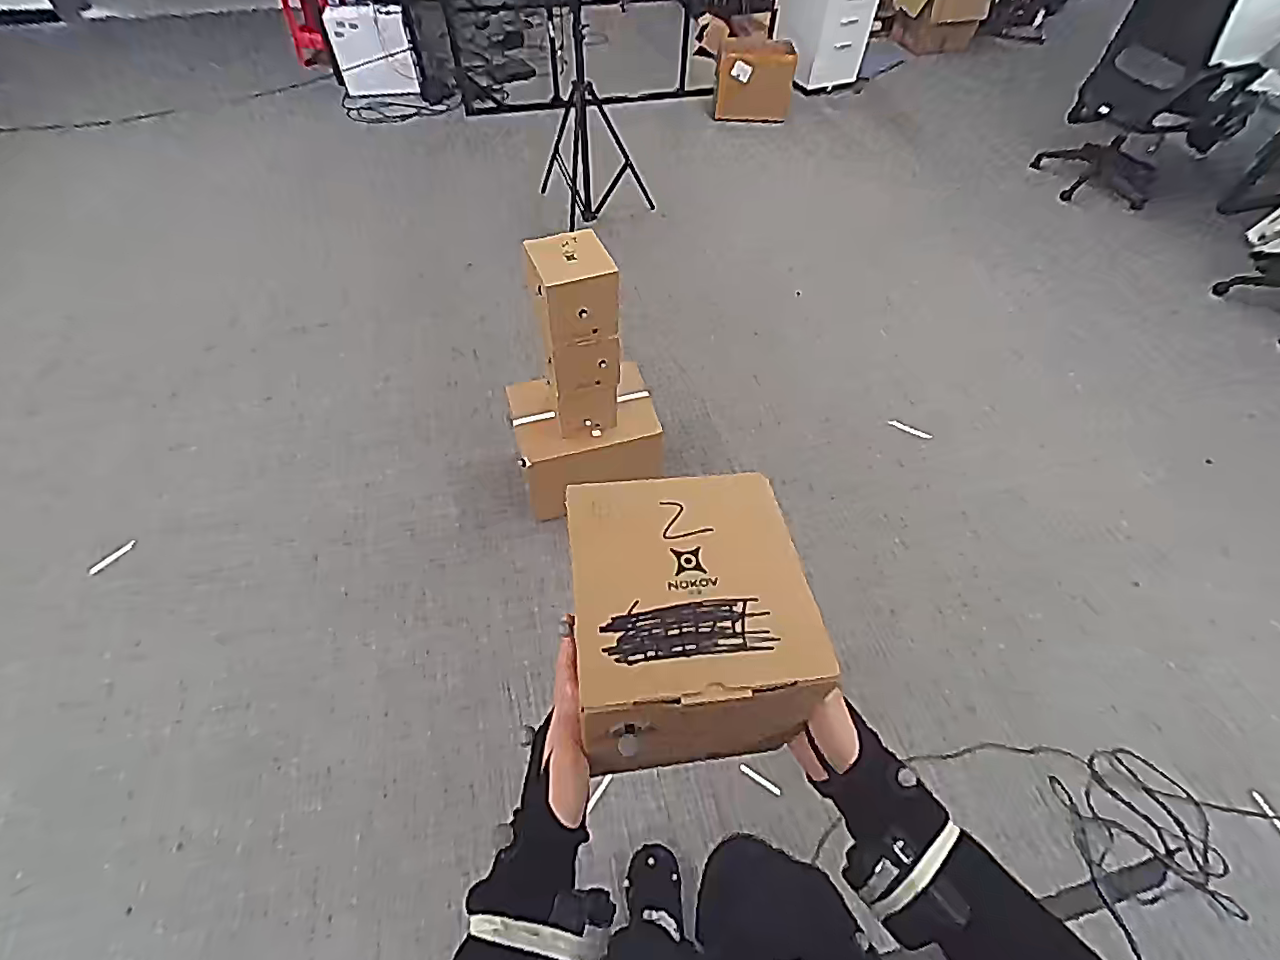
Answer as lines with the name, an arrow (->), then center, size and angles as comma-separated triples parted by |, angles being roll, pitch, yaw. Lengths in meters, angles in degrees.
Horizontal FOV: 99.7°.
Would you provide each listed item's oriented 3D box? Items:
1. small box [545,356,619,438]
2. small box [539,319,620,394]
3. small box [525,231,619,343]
small box -> -0.161, -0.246, 1.505 | 0.168, 0.176, 0.179 | -14, 57, -11
small box -> -0.151, -0.336, 1.371 | 0.168, 0.176, 0.179 | -15, 56, -13
small box -> -0.152, -0.433, 1.237 | 0.168, 0.176, 0.179 | -18, 58, -15
